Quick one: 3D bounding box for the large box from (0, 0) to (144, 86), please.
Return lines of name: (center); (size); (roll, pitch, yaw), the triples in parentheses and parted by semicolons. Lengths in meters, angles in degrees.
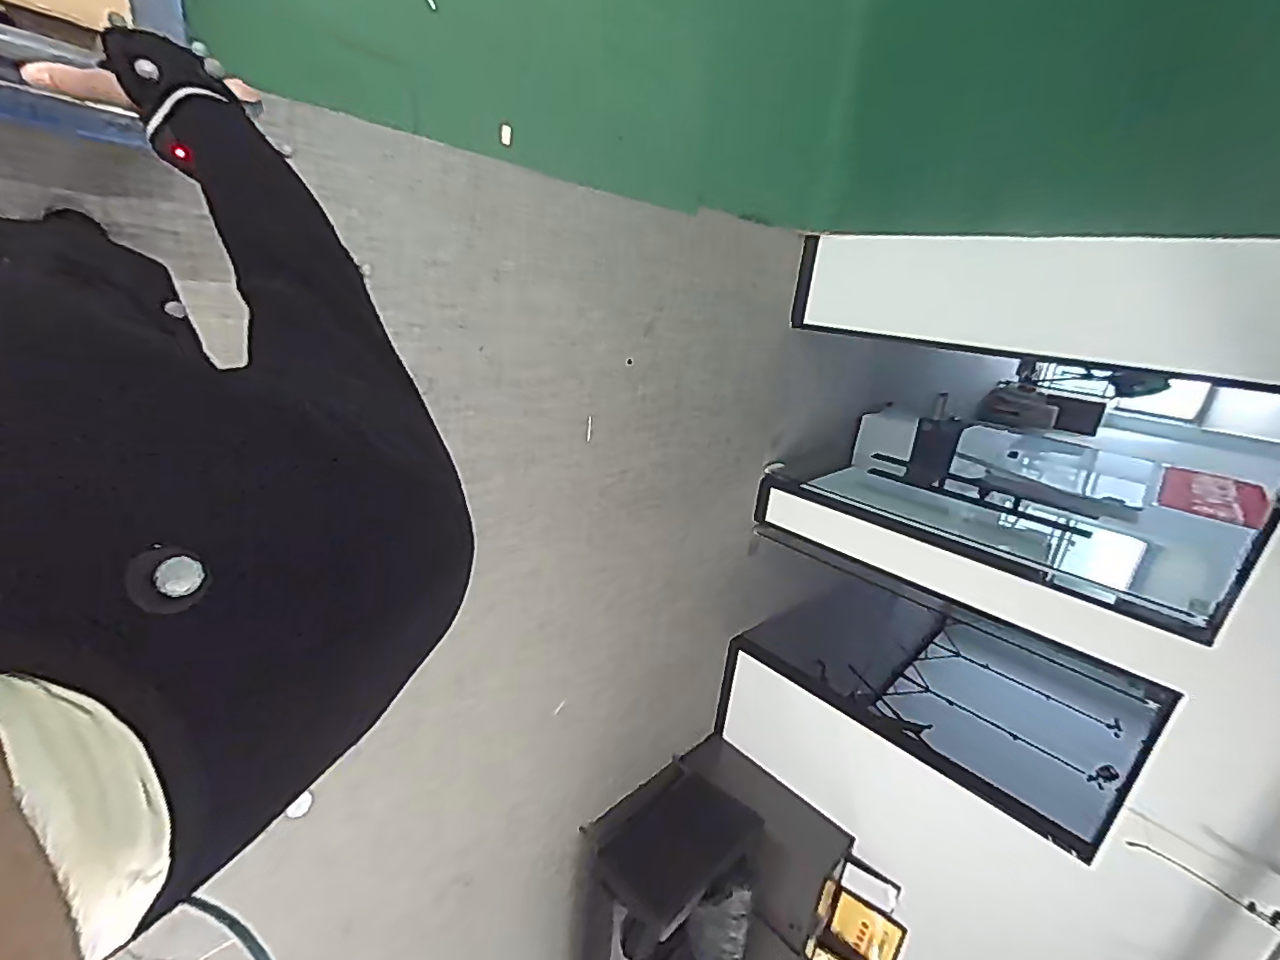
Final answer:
large box: (-0.886, -0.808, 0.687); (0.320, 0.320, 0.408); (-12, 115, -45)
